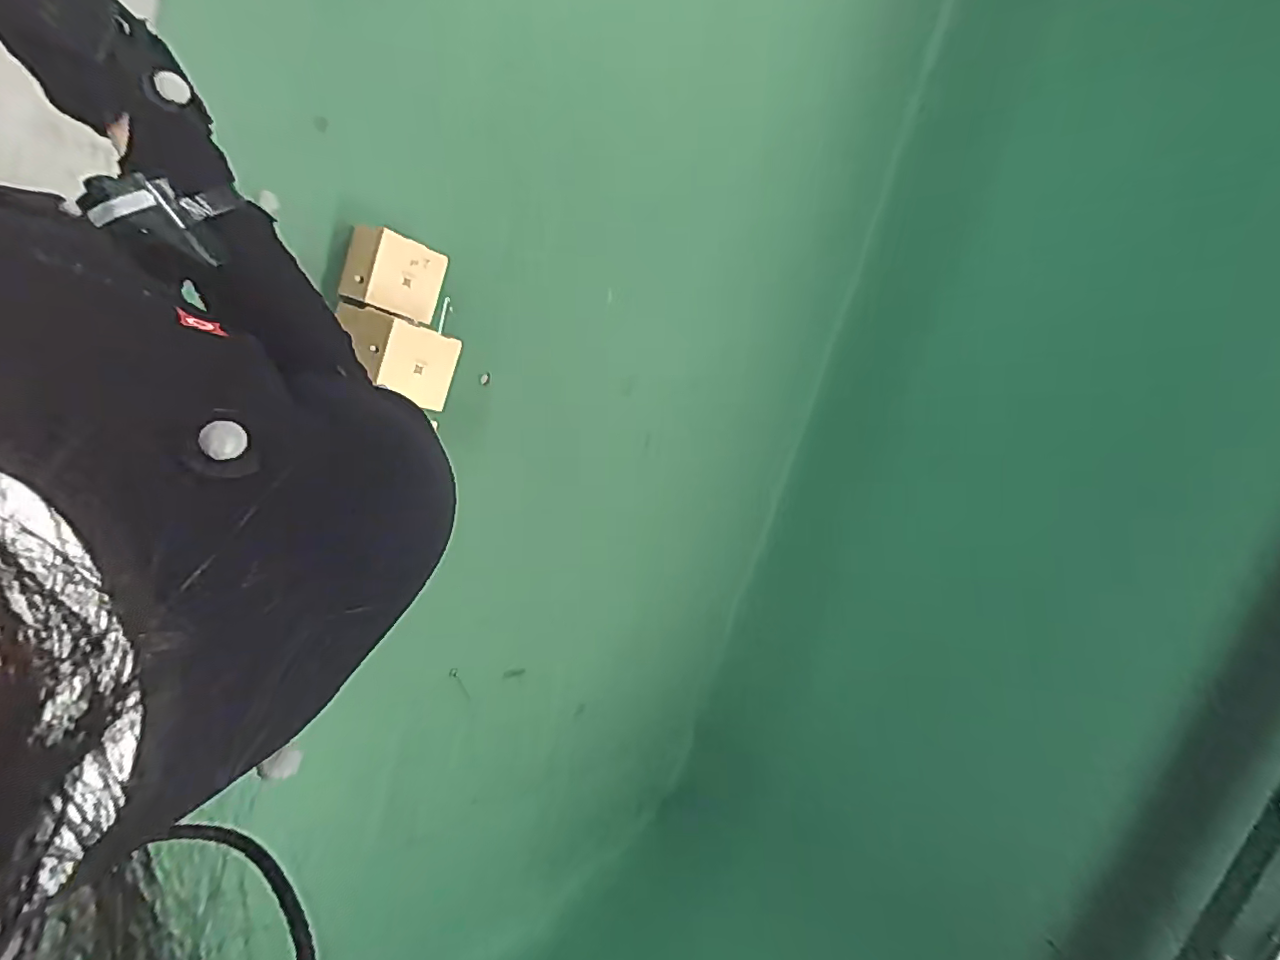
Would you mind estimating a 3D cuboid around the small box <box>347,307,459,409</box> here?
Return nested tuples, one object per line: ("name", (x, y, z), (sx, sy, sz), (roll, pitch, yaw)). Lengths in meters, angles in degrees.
("small box", (-0.559, -0.286, 1.264), (0.168, 0.176, 0.179), (12, 99, -50))
